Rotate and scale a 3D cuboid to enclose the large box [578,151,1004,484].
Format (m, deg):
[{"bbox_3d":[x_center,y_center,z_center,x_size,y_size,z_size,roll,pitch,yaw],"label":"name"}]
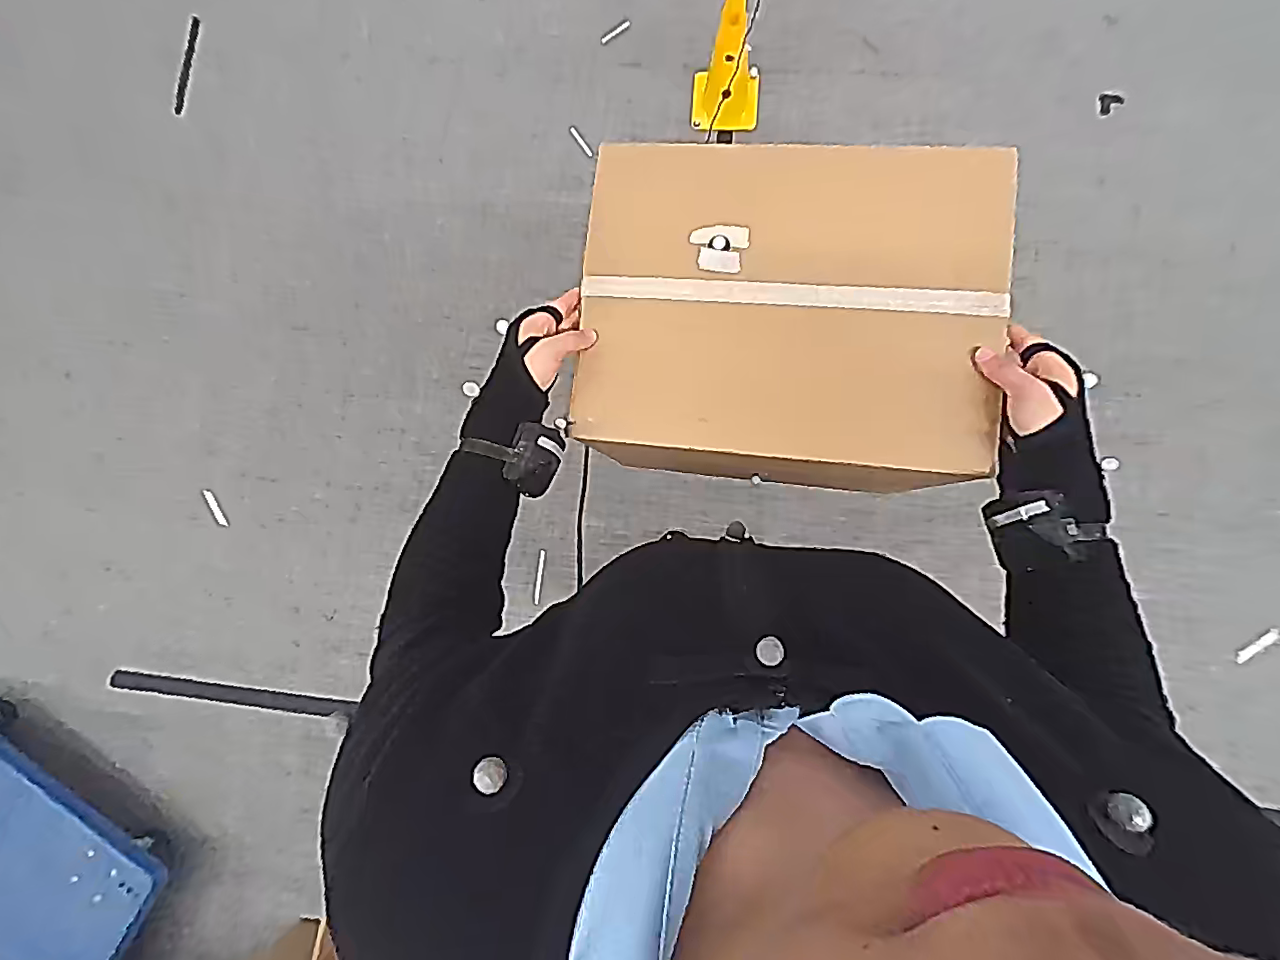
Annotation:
[{"bbox_3d":[0.168,-0.168,0.687,0.408,0.320,0.320,5,85,9],"label":"large box"}]
